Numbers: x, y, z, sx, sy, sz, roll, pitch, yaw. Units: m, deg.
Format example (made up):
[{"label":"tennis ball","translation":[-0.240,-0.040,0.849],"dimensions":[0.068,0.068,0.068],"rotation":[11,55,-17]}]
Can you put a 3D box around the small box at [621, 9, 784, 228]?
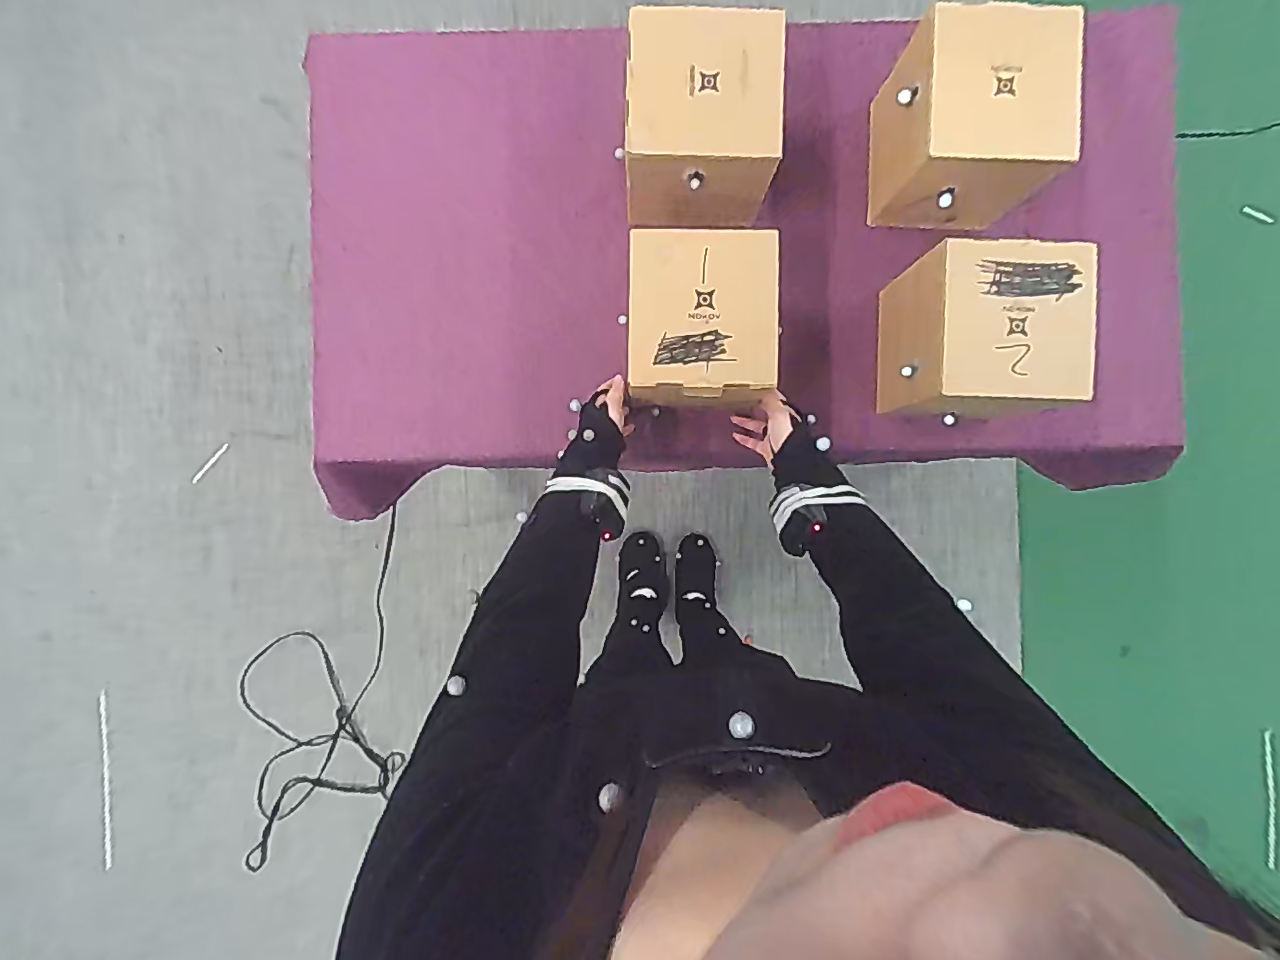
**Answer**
[{"label":"small box","translation":[0.071,-0.436,0.678],"dimensions":[0.179,0.176,0.168],"rotation":[2,89,1]}]

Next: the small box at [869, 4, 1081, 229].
[{"label":"small box","translation":[0.399,-0.434,0.672],"dimensions":[0.168,0.176,0.179],"rotation":[2,88,1]}]

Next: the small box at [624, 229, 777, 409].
[{"label":"small box","translation":[0.069,-0.186,0.671],"dimensions":[0.168,0.176,0.179],"rotation":[1,87,1]}]
